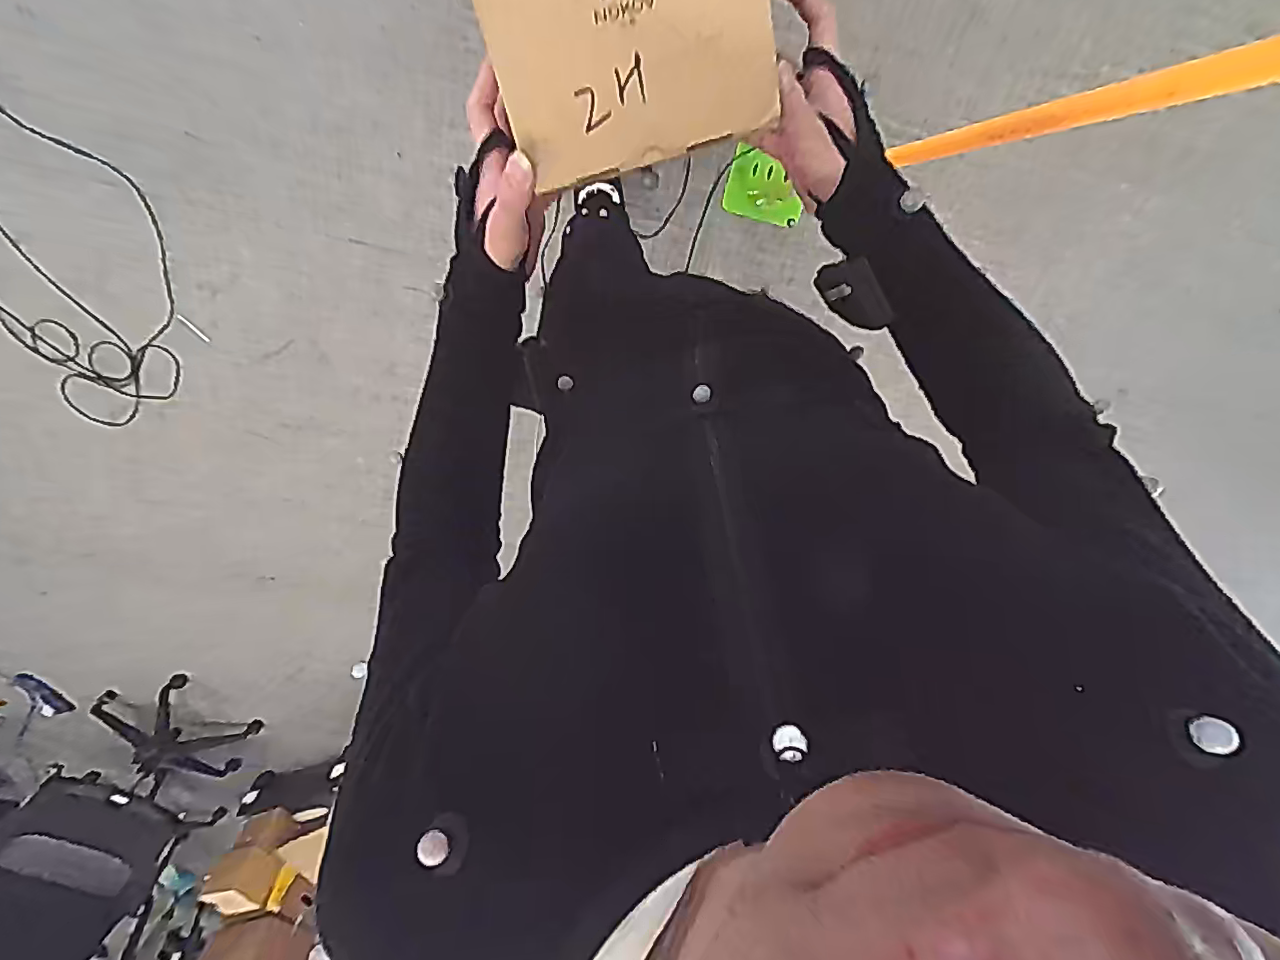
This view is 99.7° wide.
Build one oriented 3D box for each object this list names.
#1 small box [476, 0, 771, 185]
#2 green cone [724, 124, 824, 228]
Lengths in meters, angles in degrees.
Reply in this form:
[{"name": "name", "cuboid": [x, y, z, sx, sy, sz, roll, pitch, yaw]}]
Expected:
[{"name": "small box", "cuboid": [-0.015, -0.320, 0.379, 0.168, 0.176, 0.179, -11, 119, 6]}, {"name": "green cone", "cuboid": [0.317, -0.650, 1.161, 0.202, 0.368, 0.200, 12, 120, -6]}]
